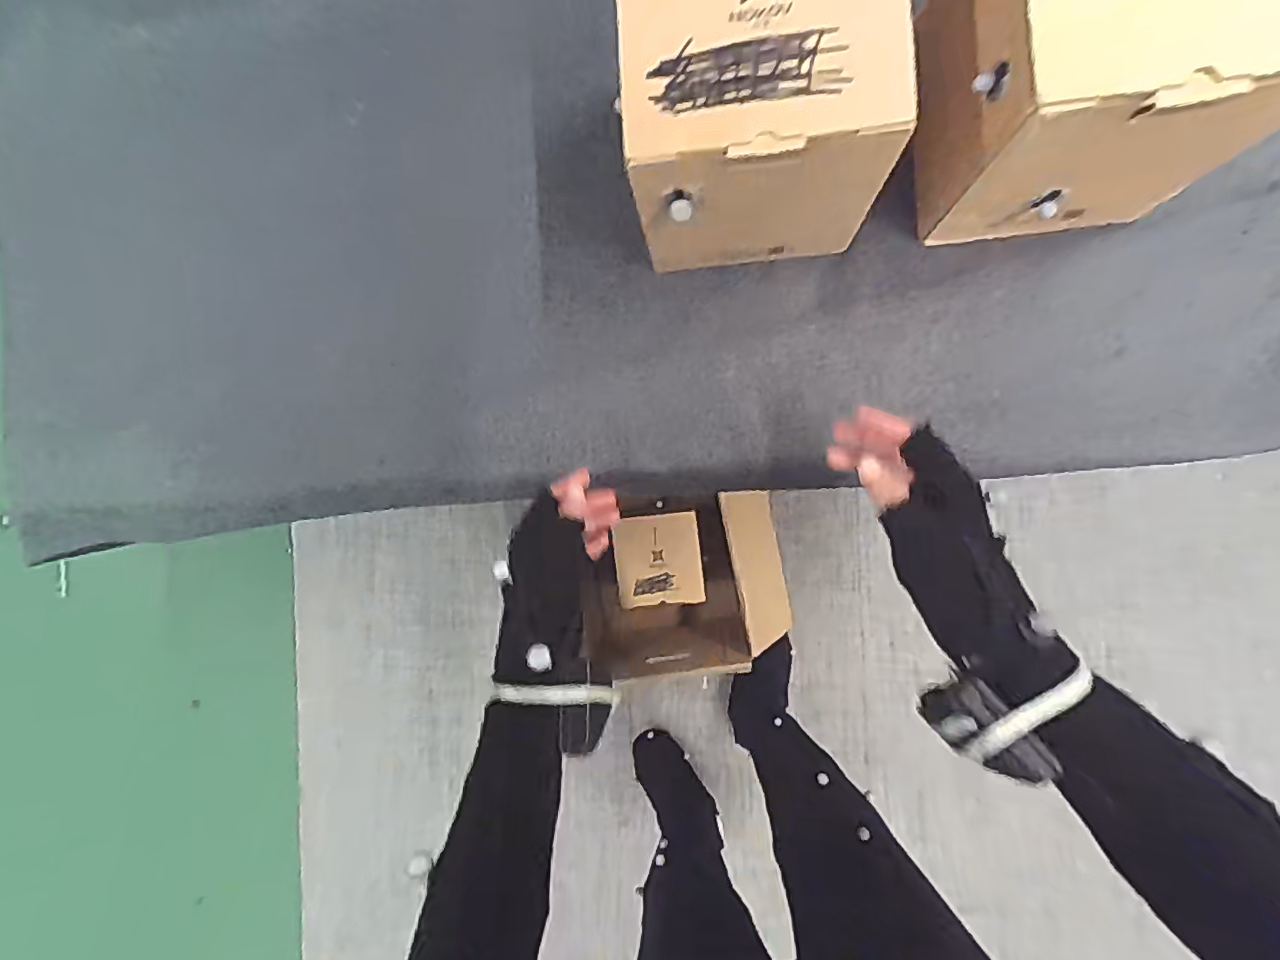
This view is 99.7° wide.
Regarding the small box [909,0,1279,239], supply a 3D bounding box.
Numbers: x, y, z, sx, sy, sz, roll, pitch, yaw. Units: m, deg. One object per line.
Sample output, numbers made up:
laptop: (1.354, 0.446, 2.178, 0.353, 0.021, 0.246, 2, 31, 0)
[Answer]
small box: (0.297, -0.291, 0.363, 0.168, 0.176, 0.179, -5, 90, 8)
